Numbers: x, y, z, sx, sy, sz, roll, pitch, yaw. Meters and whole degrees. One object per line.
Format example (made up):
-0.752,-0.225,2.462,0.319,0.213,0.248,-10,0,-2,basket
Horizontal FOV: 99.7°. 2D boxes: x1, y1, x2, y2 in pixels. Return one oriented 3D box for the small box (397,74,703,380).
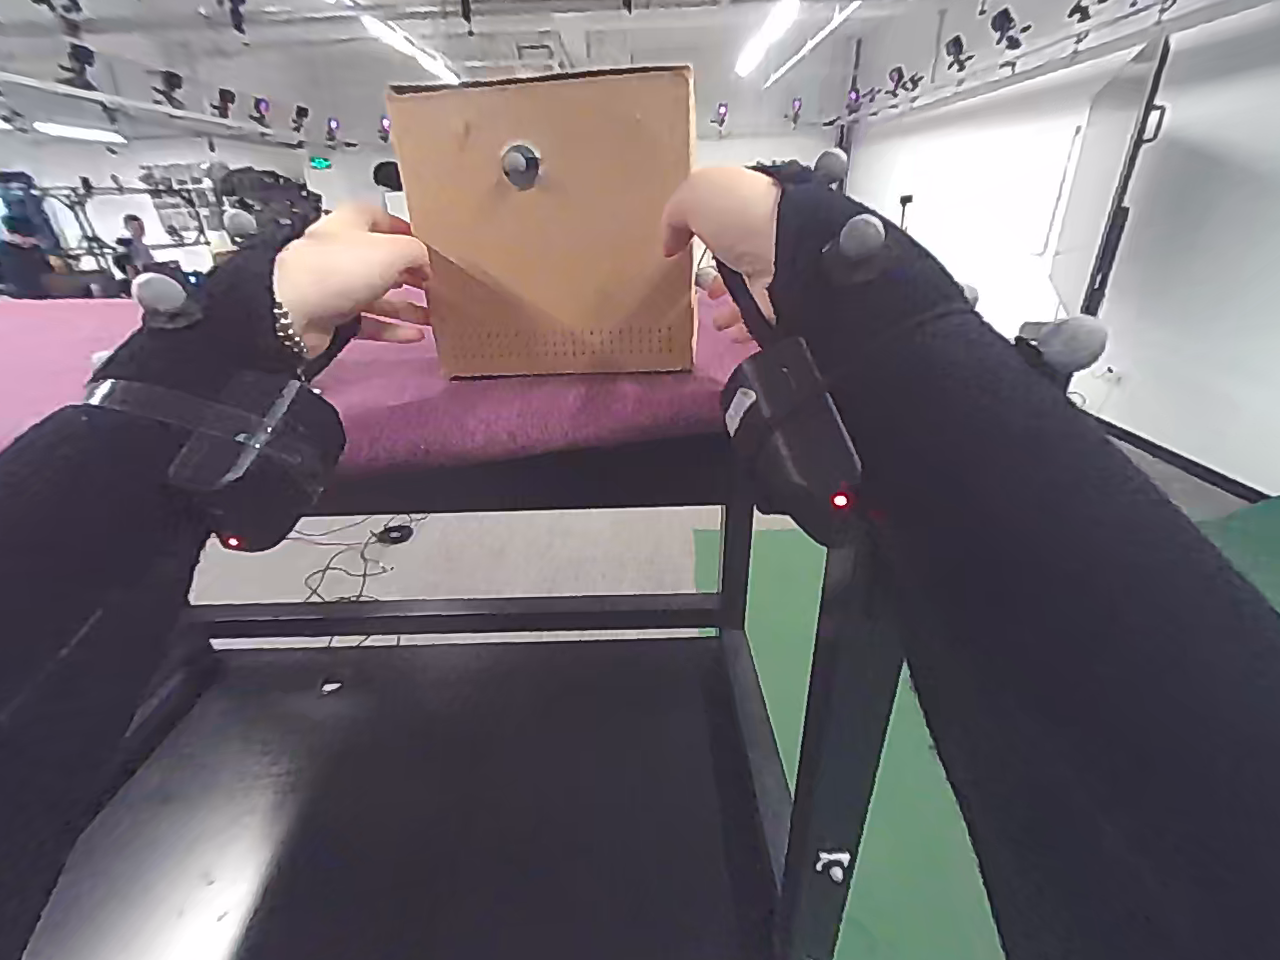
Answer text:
-0.043,-0.174,0.404,0.179,0.176,0.168,1,26,7,small box
